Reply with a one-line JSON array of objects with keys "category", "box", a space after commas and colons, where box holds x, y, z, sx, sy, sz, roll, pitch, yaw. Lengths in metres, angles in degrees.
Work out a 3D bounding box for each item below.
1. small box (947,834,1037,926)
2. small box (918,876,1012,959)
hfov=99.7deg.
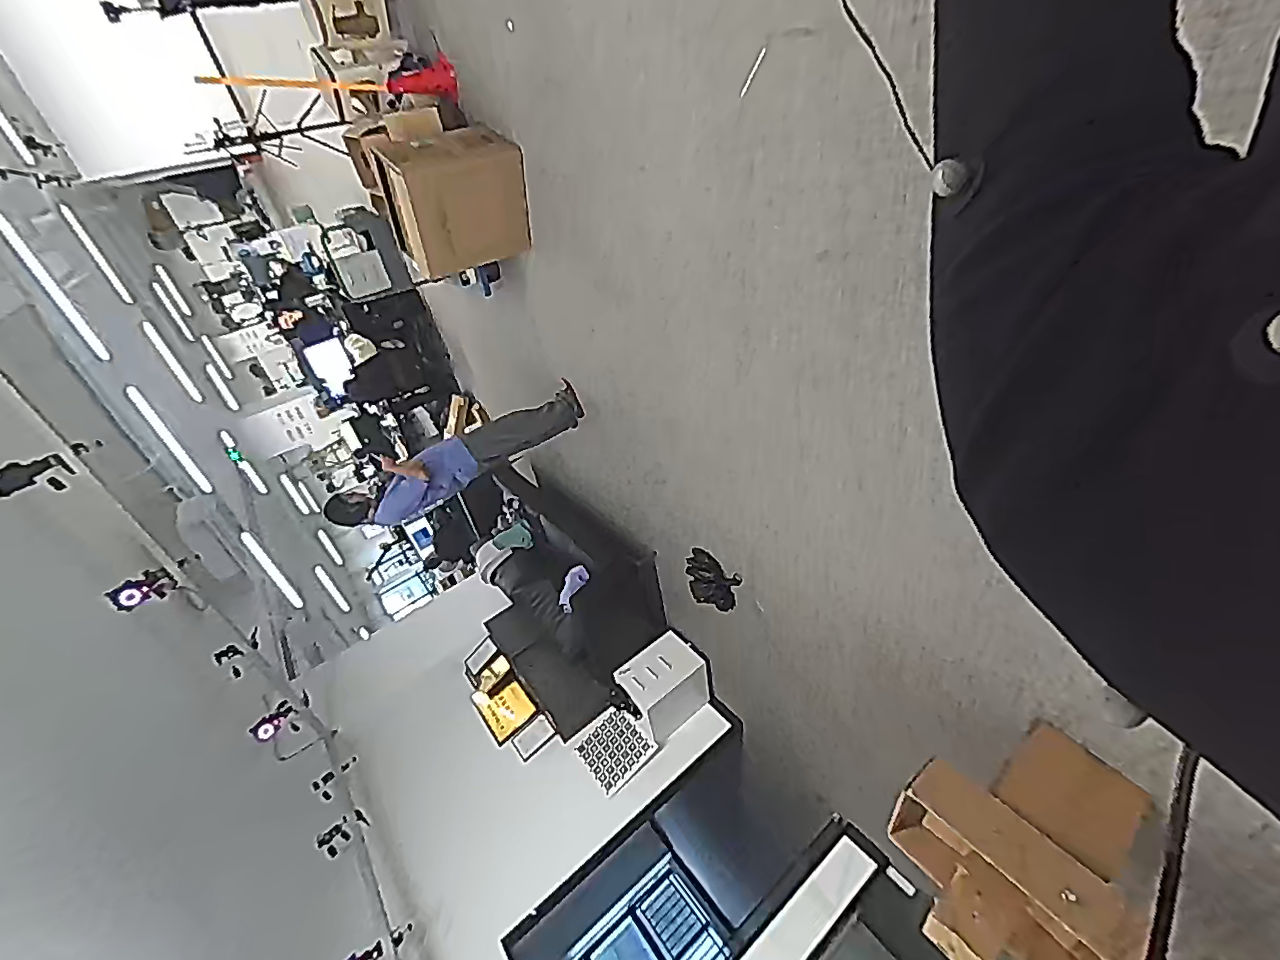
[{"category": "small box", "box": [1.076, 1.238, 1.657, 0.168, 0.176, 0.179, 33, 146, 45]}, {"category": "small box", "box": [0.952, 1.318, 1.585, 0.168, 0.176, 0.179, 34, 144, 45]}]
